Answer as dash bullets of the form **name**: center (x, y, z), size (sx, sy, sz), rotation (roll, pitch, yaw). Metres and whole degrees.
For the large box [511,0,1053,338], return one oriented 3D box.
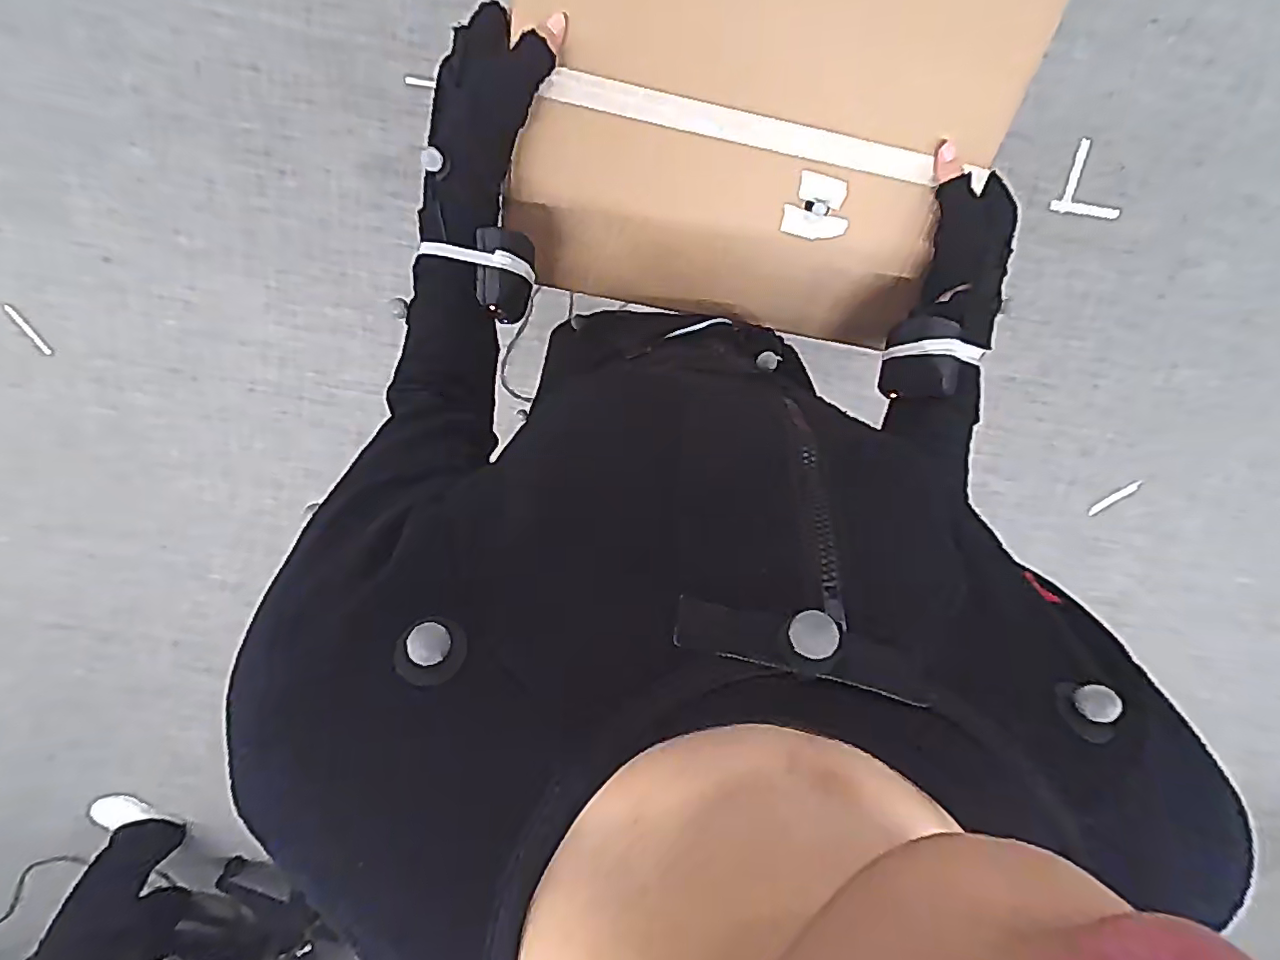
- **large box**: center (0.094, -0.379, 0.577), size (0.408, 0.320, 0.320), rotation (9, 123, -8)
